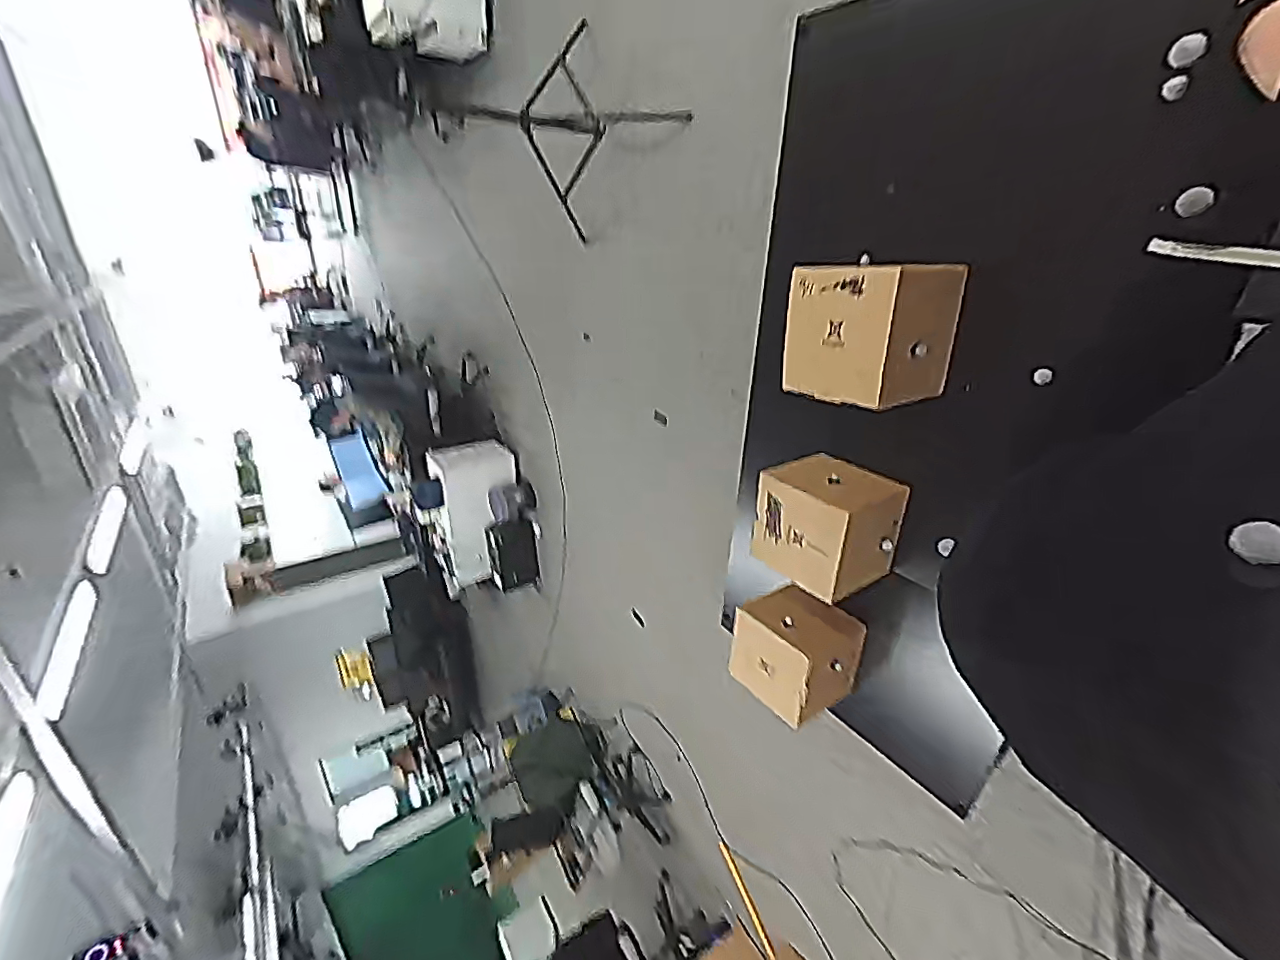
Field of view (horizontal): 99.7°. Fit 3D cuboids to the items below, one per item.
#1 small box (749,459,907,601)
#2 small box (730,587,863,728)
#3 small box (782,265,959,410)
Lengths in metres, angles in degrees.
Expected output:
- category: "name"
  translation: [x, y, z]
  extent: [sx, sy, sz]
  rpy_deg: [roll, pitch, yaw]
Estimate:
- category: "small box"
  translation: [0.315, 0.073, 0.921]
  extent: [0.179, 0.176, 0.168]
  rpy_deg: [30, 127, 47]
- category: "small box"
  translation: [0.300, 0.330, 1.047]
  extent: [0.179, 0.176, 0.168]
  rpy_deg: [30, 125, 49]
- category: "small box"
  translation: [0.329, -0.214, 0.784]
  extent: [0.168, 0.176, 0.179]
  rpy_deg: [26, 125, 49]
